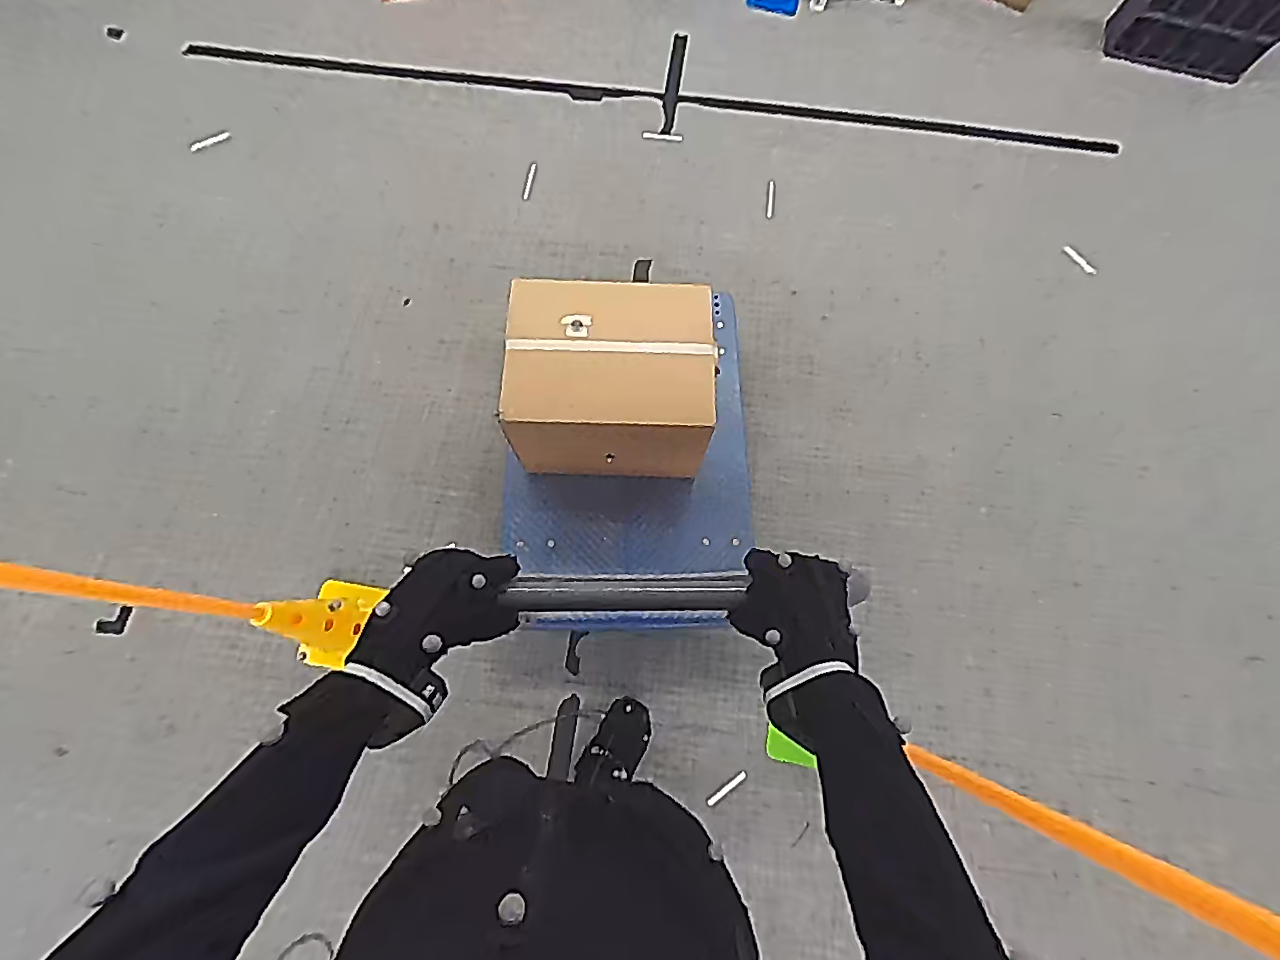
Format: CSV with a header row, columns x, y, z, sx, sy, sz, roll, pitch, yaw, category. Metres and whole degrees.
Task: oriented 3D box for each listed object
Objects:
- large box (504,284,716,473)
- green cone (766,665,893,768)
x,y,z,sx,sy,sz,roll,pitch,yaw,category
-0.055,-0.206,1.192,0.408,0.320,0.320,2,72,-1,large box
0.413,0.503,1.119,0.202,0.368,0.200,12,72,1,green cone
